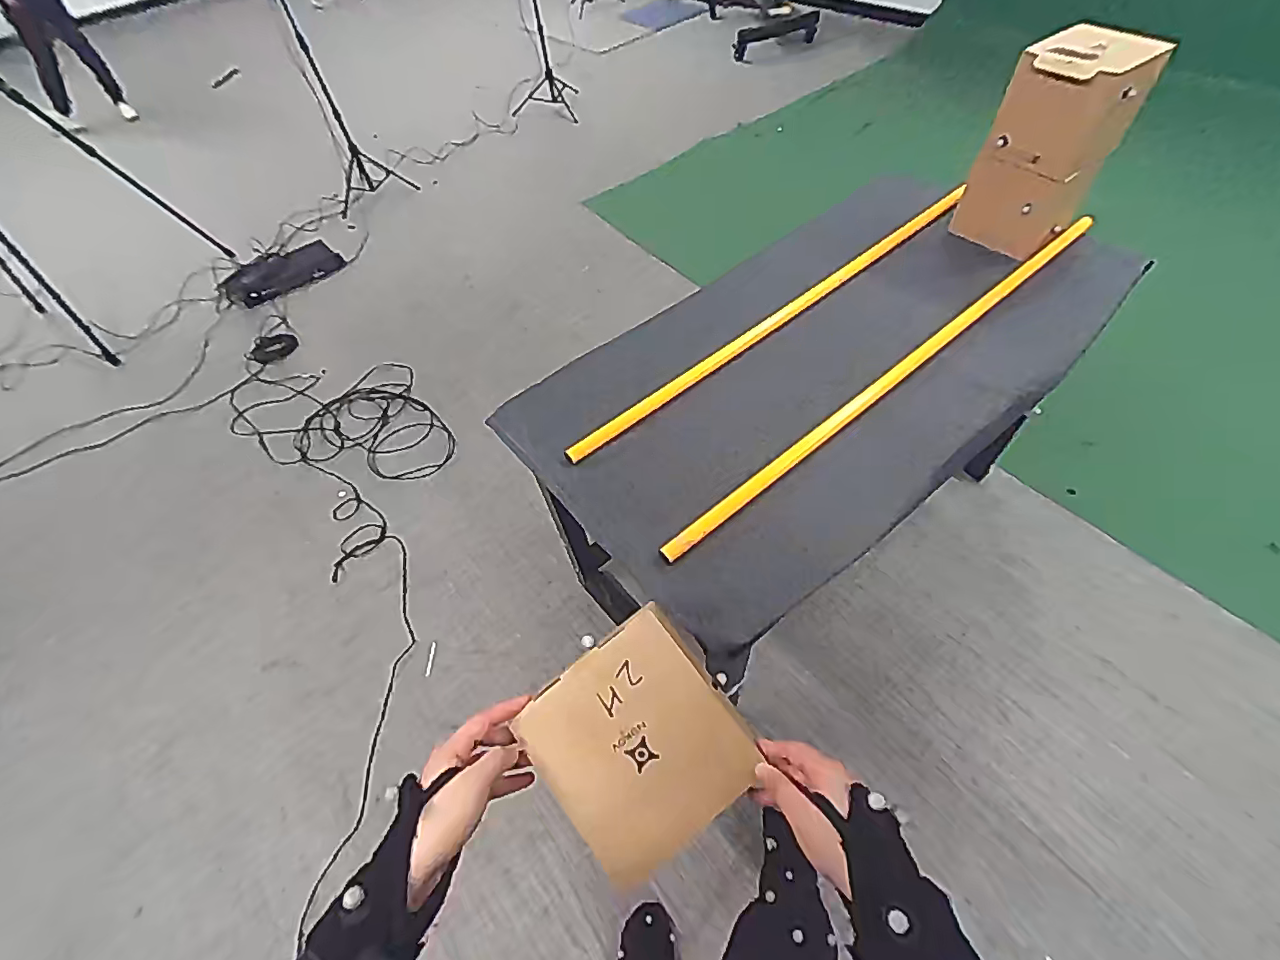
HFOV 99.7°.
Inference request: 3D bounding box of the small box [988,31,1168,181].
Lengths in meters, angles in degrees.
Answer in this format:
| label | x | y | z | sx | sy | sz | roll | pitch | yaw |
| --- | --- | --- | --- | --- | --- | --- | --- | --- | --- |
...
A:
| label | x | y | z | sx | sy | sz | roll | pitch | yaw |
| --- | --- | --- | --- | --- | --- | --- | --- | --- | --- |
| small box | 0.784 | -0.683 | 0.993 | 0.179 | 0.176 | 0.168 | -32 | 58 | -16 |
